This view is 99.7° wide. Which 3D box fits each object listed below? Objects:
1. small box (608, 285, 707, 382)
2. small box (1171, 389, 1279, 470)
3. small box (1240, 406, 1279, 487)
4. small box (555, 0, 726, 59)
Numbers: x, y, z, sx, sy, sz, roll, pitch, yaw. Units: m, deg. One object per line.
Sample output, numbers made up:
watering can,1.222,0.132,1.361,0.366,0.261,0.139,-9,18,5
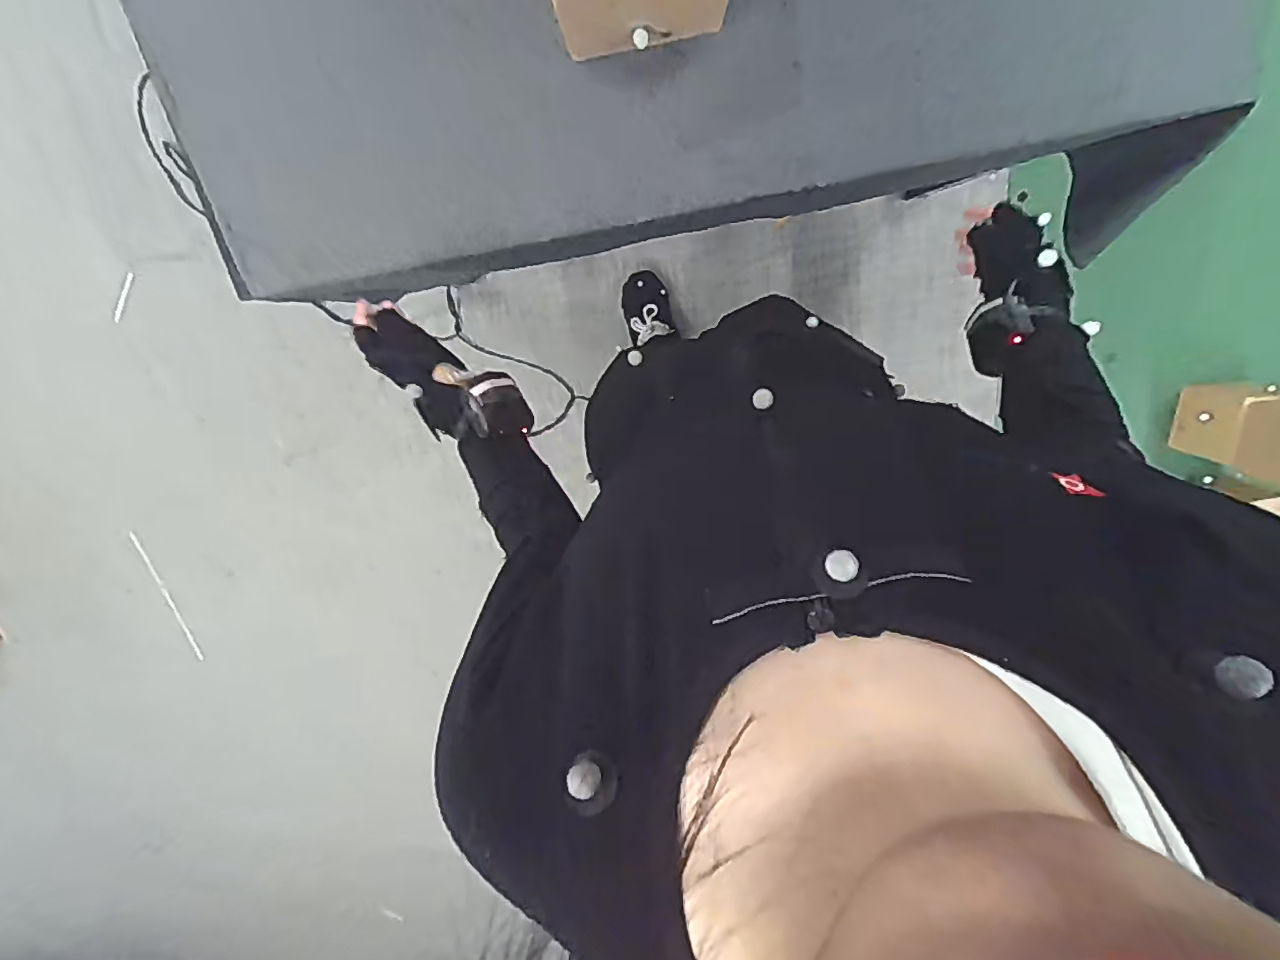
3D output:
small box,0.037,-0.363,1.328,0.179,0.176,0.168,29,122,10
small box,1.494,-0.129,1.345,0.179,0.176,0.168,-4,108,3
small box,1.501,-0.070,1.191,0.168,0.176,0.179,-5,108,3
small box,-0.009,-0.527,0.487,0.168,0.176,0.179,-8,109,5
